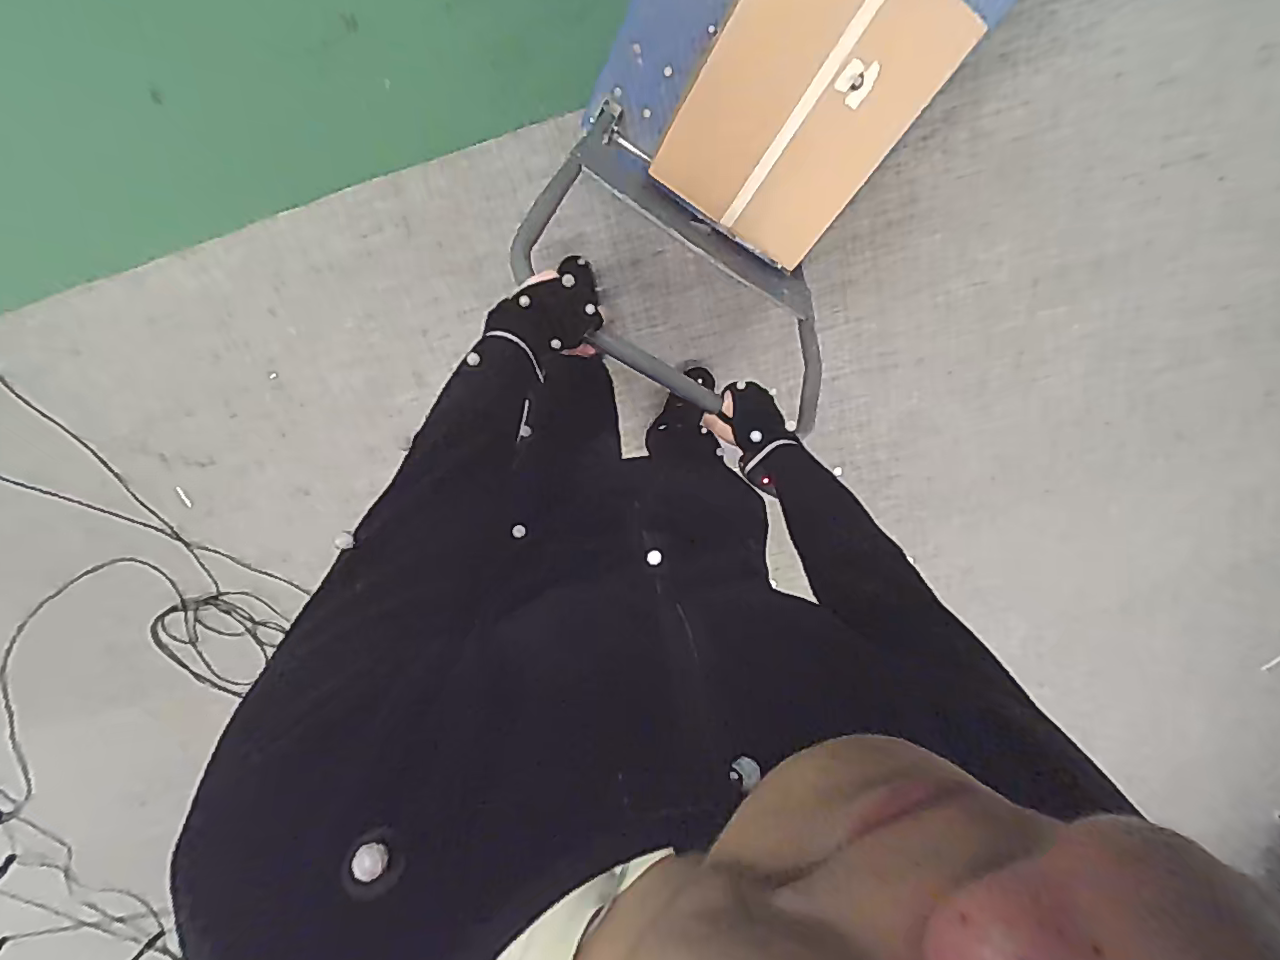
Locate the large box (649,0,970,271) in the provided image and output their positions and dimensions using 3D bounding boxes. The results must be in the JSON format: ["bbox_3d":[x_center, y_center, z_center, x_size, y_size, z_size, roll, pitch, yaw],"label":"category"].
[{"bbox_3d":[0.255,-0.666,0.952,0.320,0.320,0.408,27,128,-16],"label":"large box"}]
